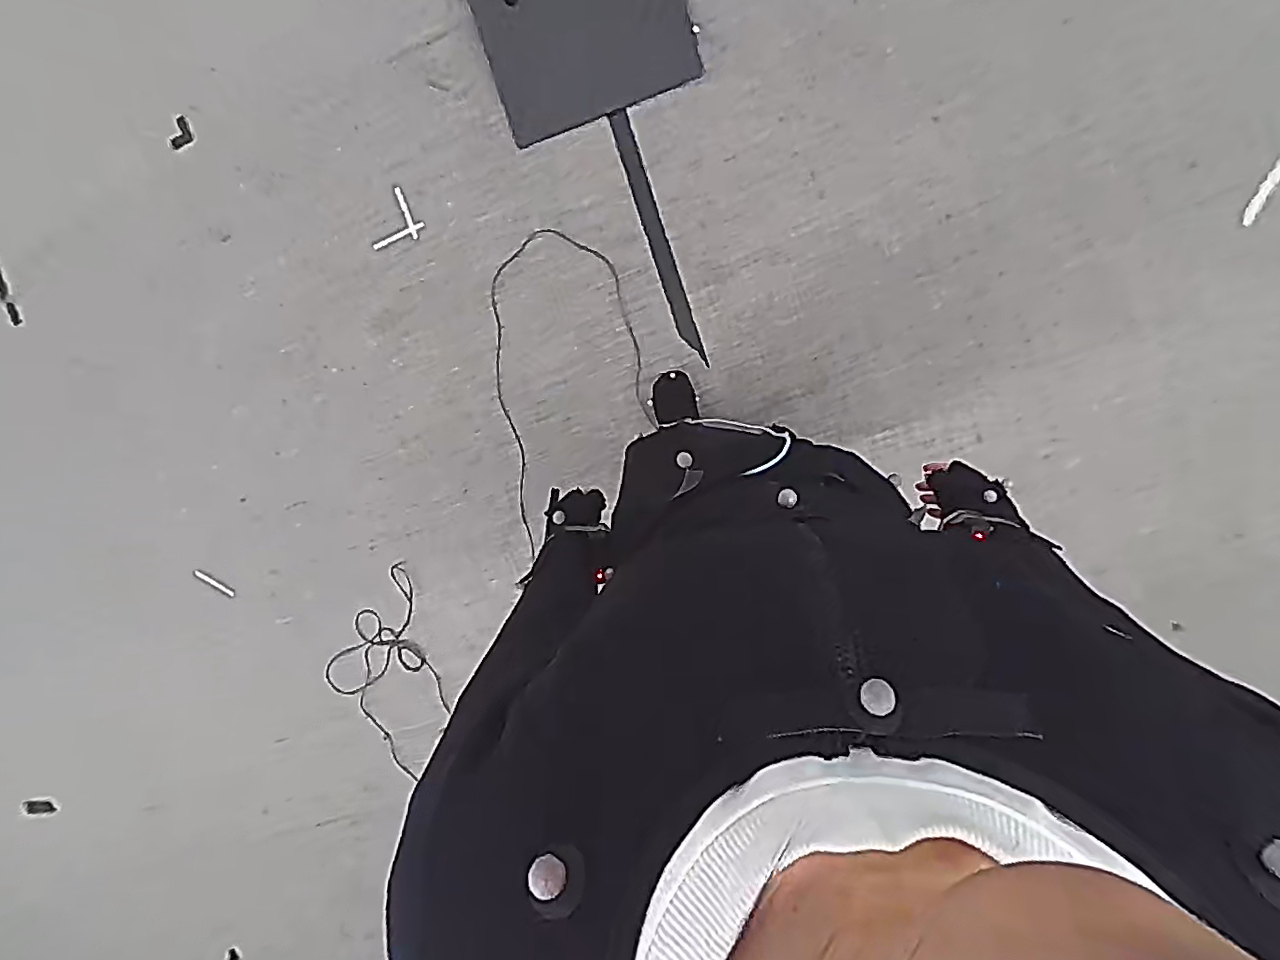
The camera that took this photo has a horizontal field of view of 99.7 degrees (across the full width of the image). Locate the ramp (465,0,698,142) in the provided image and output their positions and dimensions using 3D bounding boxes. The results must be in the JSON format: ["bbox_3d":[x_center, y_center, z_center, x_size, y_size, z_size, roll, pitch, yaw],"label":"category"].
[{"bbox_3d":[-0.238,-1.368,1.189,0.509,0.206,0.991,-18,97,8],"label":"ramp"}]
